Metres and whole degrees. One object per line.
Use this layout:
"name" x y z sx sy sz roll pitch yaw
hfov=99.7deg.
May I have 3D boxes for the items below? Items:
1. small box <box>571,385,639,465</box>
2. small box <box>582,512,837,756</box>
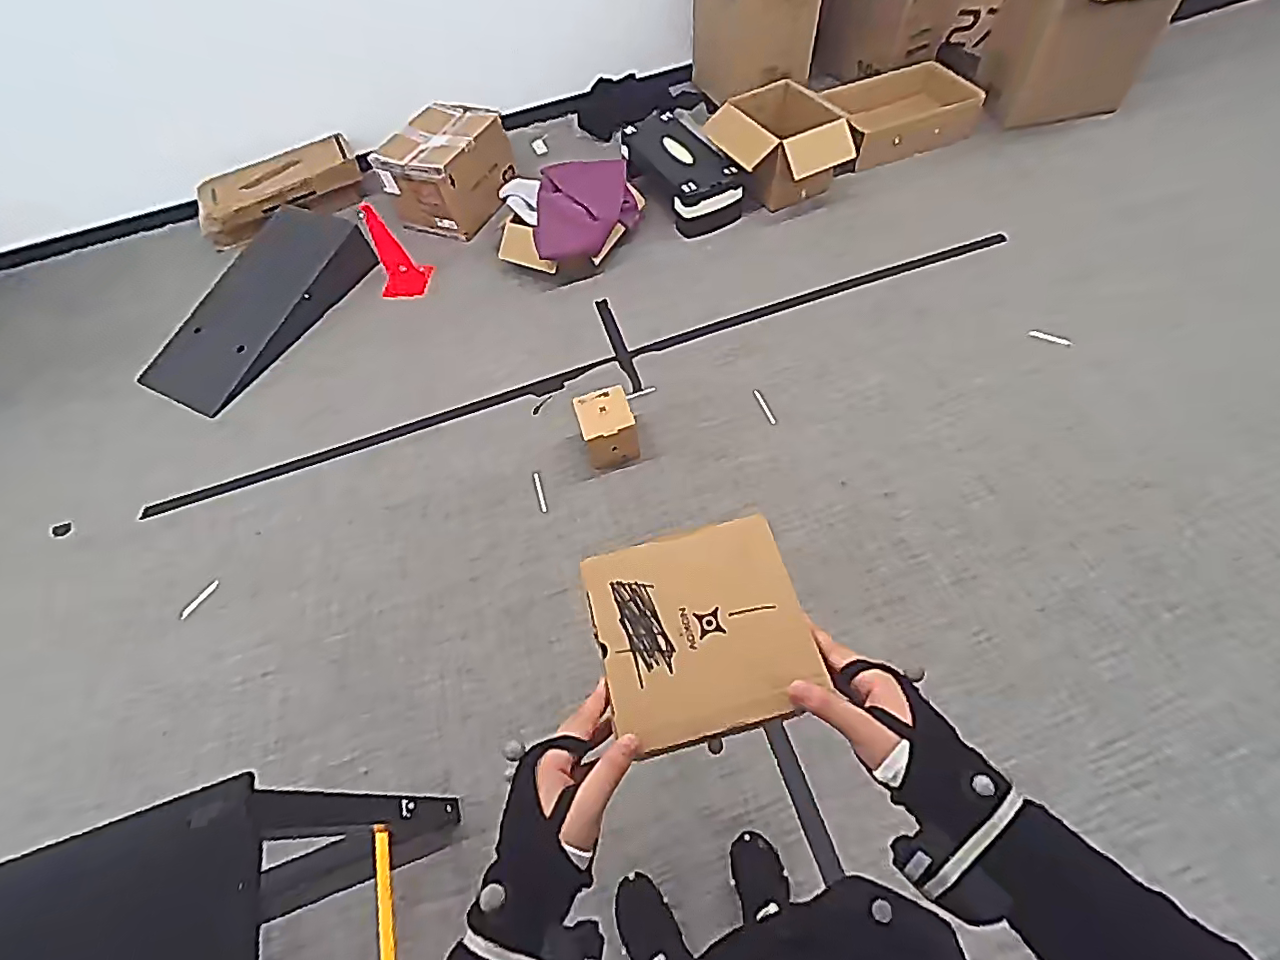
"small box" -0.108 -0.168 1.736 0.168 0.176 0.179 -17 59 -3
"small box" 0.057 0.155 0.515 0.179 0.176 0.168 -14 62 -3
